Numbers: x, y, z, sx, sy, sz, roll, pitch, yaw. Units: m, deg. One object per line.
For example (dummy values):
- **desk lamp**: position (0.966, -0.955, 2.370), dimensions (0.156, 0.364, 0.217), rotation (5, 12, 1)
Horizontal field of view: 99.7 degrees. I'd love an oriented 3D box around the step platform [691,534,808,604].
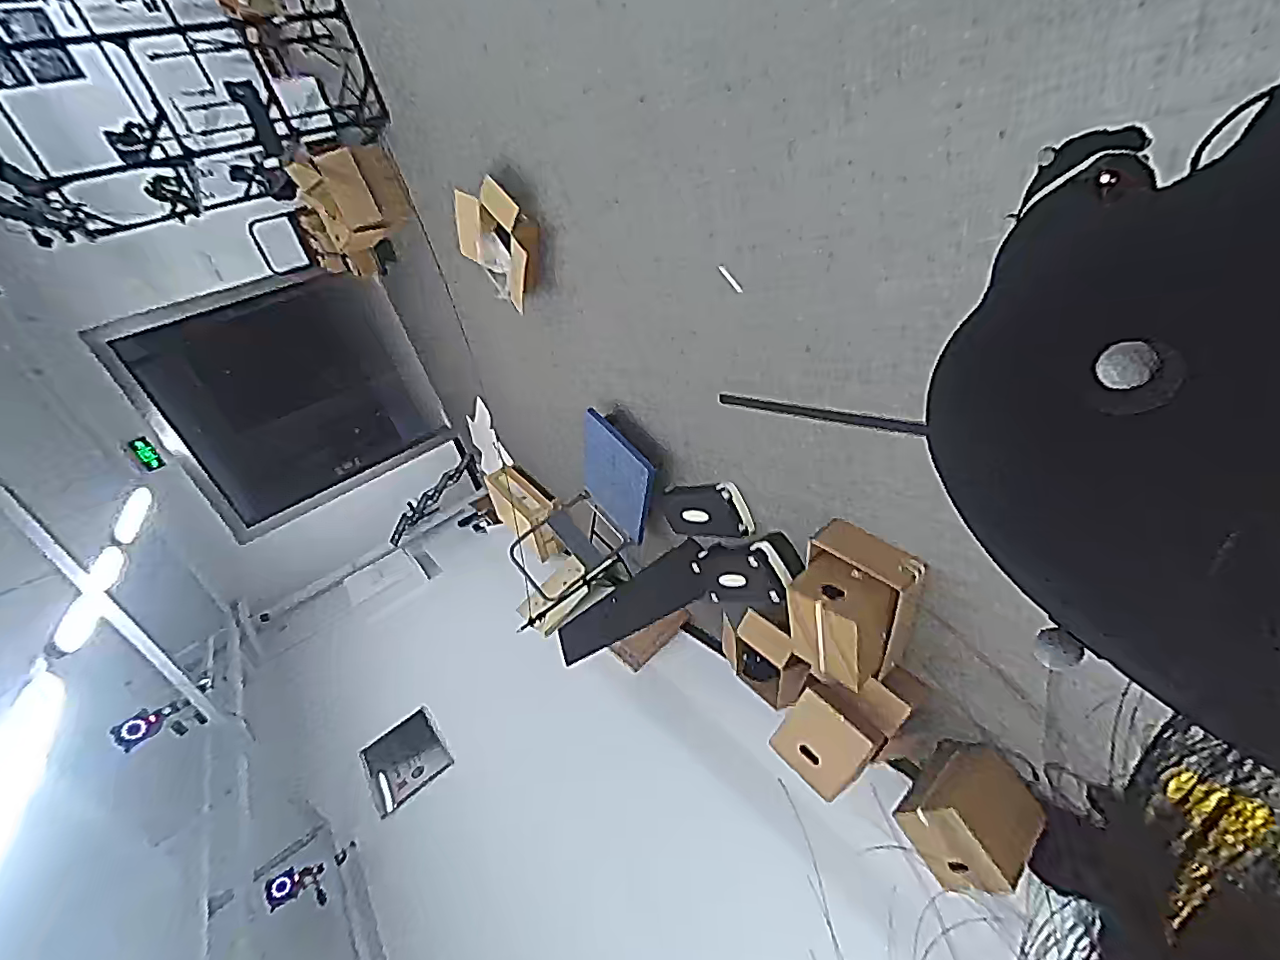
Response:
- **step platform**: position (0.538, 0.480, 2.817), dimensions (0.286, 0.204, 0.684), rotation (58, 153, -2)
